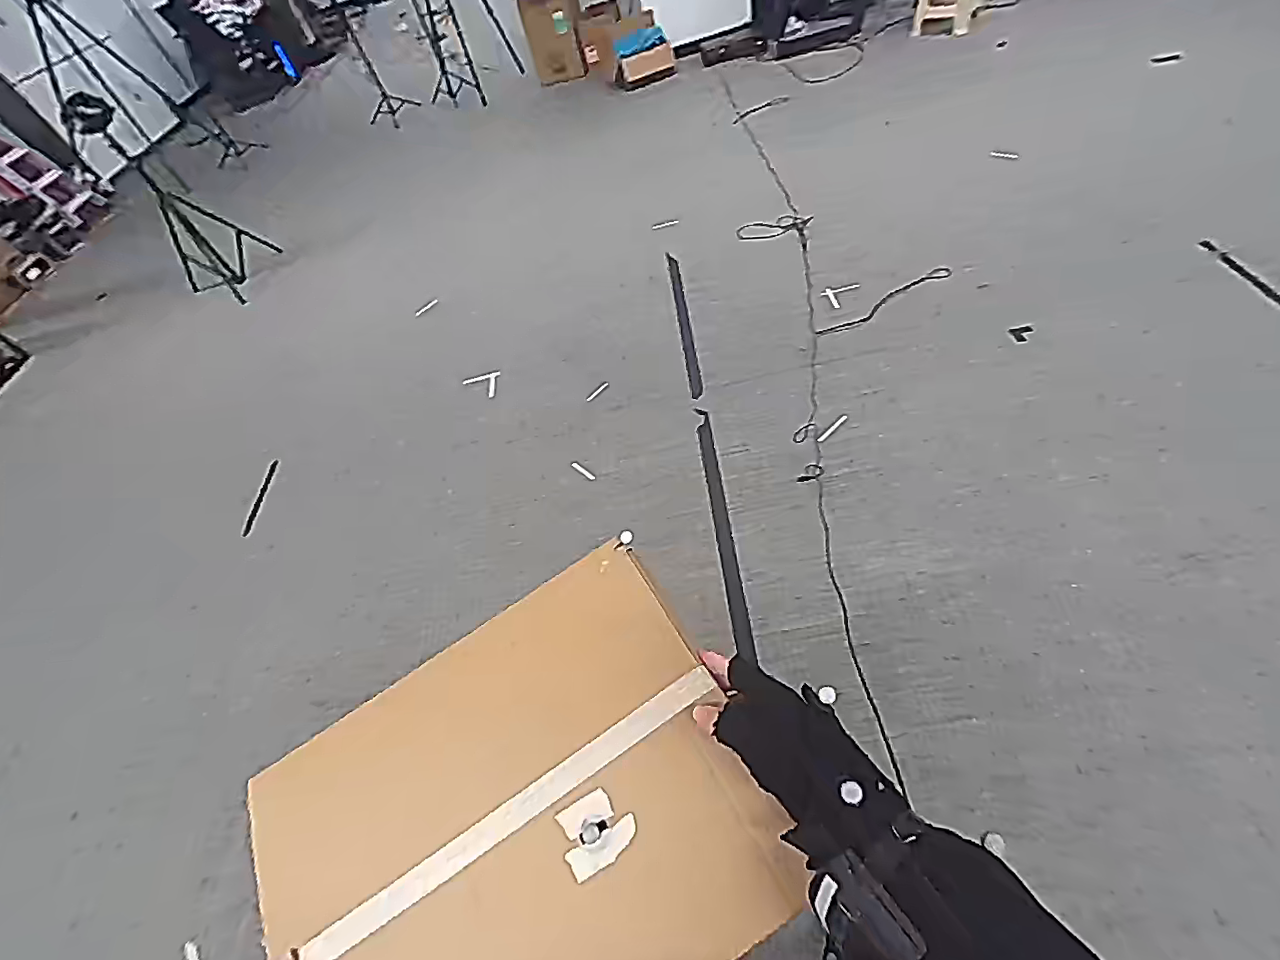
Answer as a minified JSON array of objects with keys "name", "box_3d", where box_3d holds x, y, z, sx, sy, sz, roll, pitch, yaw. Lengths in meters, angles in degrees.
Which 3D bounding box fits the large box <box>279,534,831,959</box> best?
[{"name":"large box","box_3d":[-0.068,0.337,0.573,0.408,0.320,0.320,-33,60,-5]}]
